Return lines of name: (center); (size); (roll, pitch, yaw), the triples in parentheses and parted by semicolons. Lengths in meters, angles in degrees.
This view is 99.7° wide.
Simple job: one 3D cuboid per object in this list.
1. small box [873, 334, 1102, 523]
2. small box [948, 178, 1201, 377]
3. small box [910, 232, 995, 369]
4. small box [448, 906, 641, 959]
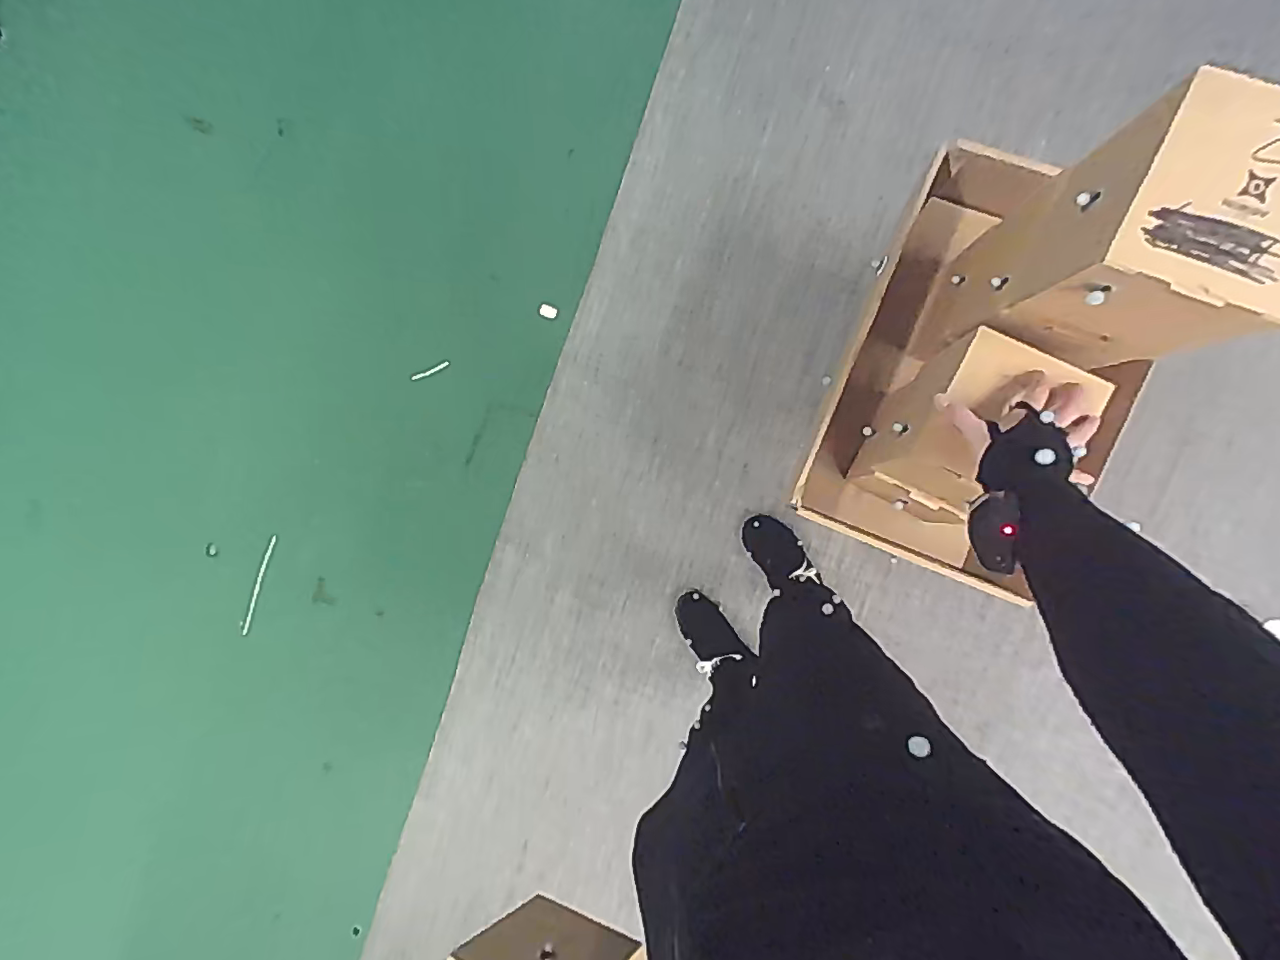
small box: (0.437, -0.056, 0.717); (0.168, 0.176, 0.179); (28, 88, 6)
small box: (0.540, -0.246, 0.705); (0.168, 0.176, 0.179); (22, 97, 6)
small box: (0.565, -0.255, 0.865); (0.168, 0.176, 0.179); (23, 96, 7)
small box: (-0.118, 0.648, 0.637); (0.179, 0.176, 0.168); (-1, 77, 29)
